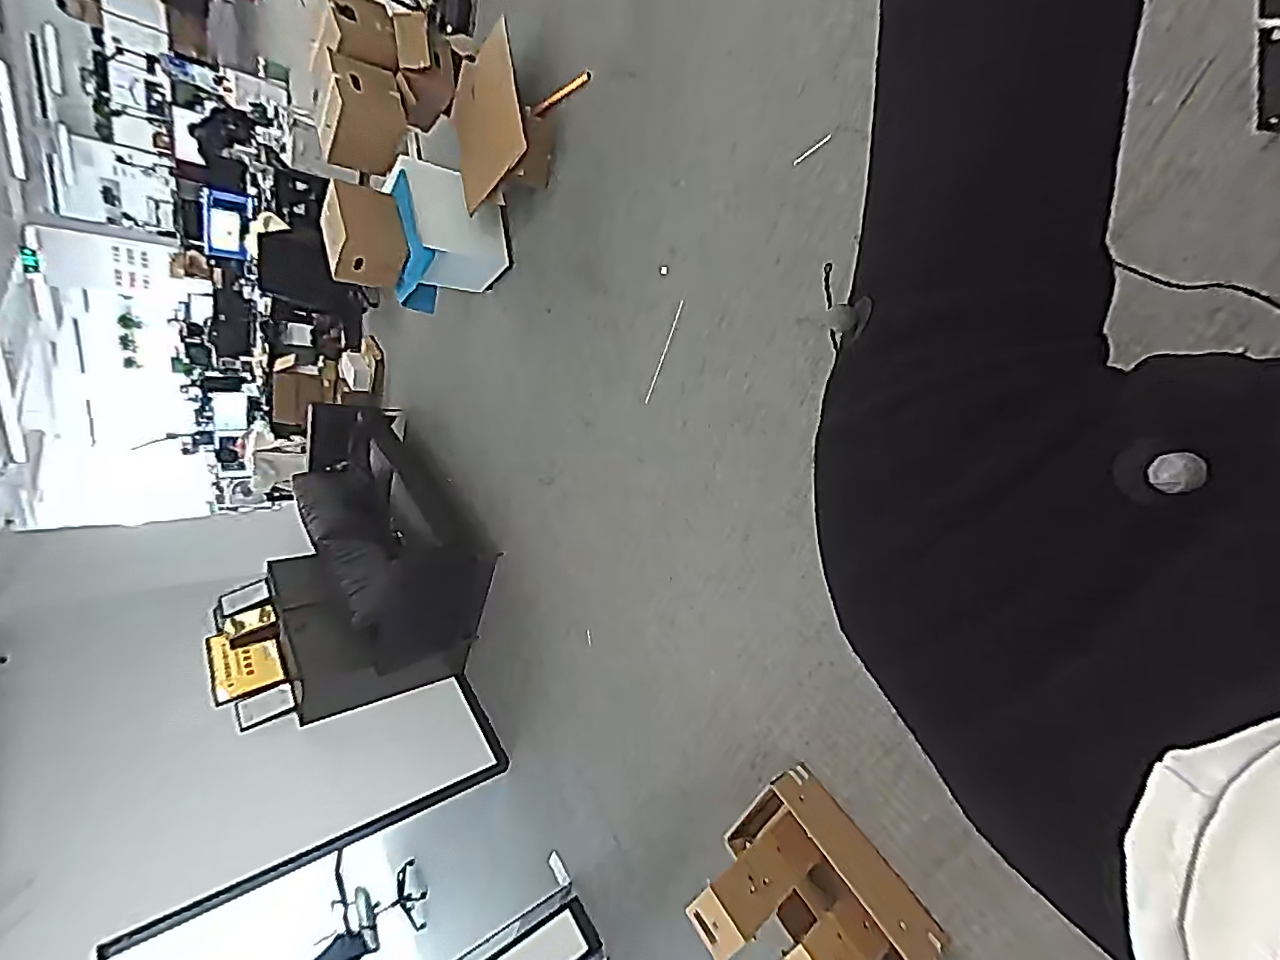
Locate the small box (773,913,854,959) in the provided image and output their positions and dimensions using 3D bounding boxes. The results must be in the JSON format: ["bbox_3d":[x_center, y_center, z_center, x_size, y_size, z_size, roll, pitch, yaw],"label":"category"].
[{"bbox_3d":[0.522,1.460,1.622,0.168,0.176,0.179,44,124,36],"label":"small box"}]

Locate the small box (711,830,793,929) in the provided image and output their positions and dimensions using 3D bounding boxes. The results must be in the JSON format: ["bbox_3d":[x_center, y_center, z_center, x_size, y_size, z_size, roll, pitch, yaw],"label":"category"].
[{"bbox_3d":[0.372,1.306,1.774,0.168,0.176,0.179,43,124,34],"label":"small box"}]

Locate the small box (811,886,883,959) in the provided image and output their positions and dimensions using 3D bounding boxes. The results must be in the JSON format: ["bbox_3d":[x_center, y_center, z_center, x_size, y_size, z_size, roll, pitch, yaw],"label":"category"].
[{"bbox_3d":[0.644,1.454,1.727,0.168,0.176,0.179,46,125,36],"label":"small box"}]
